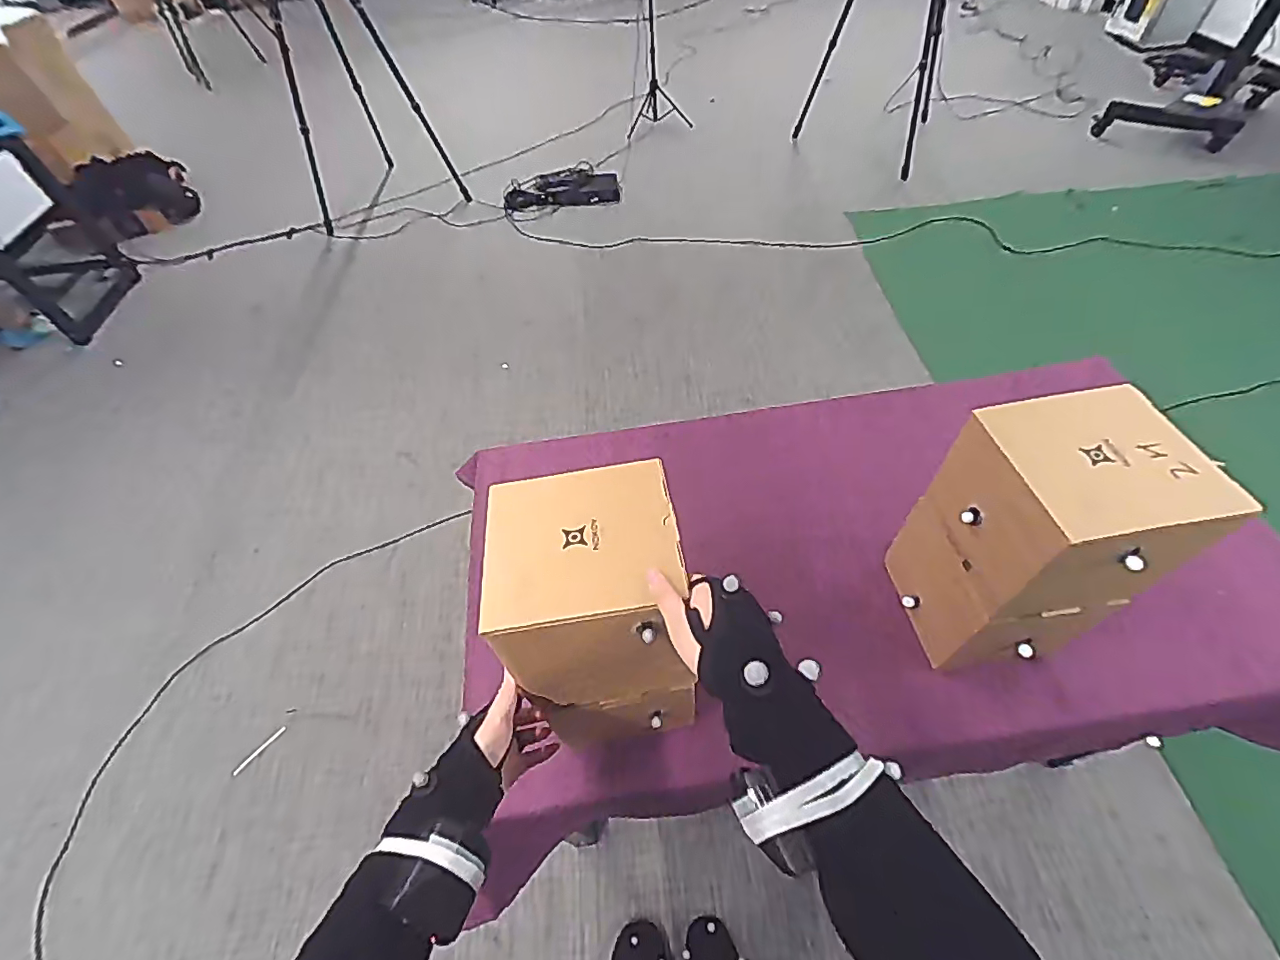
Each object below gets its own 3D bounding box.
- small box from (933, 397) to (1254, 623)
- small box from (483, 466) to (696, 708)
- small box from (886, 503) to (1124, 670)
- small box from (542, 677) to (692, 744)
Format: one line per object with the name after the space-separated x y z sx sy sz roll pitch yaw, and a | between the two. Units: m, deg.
0.445 0.037 0.577 0.179 0.176 0.168 -8 52 -2 | small box
-0.043 0.112 0.549 0.179 0.176 0.168 -9 46 -2 | small box
0.453 0.137 0.709 0.168 0.176 0.179 -8 53 -1 | small box
-0.029 0.220 0.685 0.168 0.176 0.179 -8 52 -3 | small box
